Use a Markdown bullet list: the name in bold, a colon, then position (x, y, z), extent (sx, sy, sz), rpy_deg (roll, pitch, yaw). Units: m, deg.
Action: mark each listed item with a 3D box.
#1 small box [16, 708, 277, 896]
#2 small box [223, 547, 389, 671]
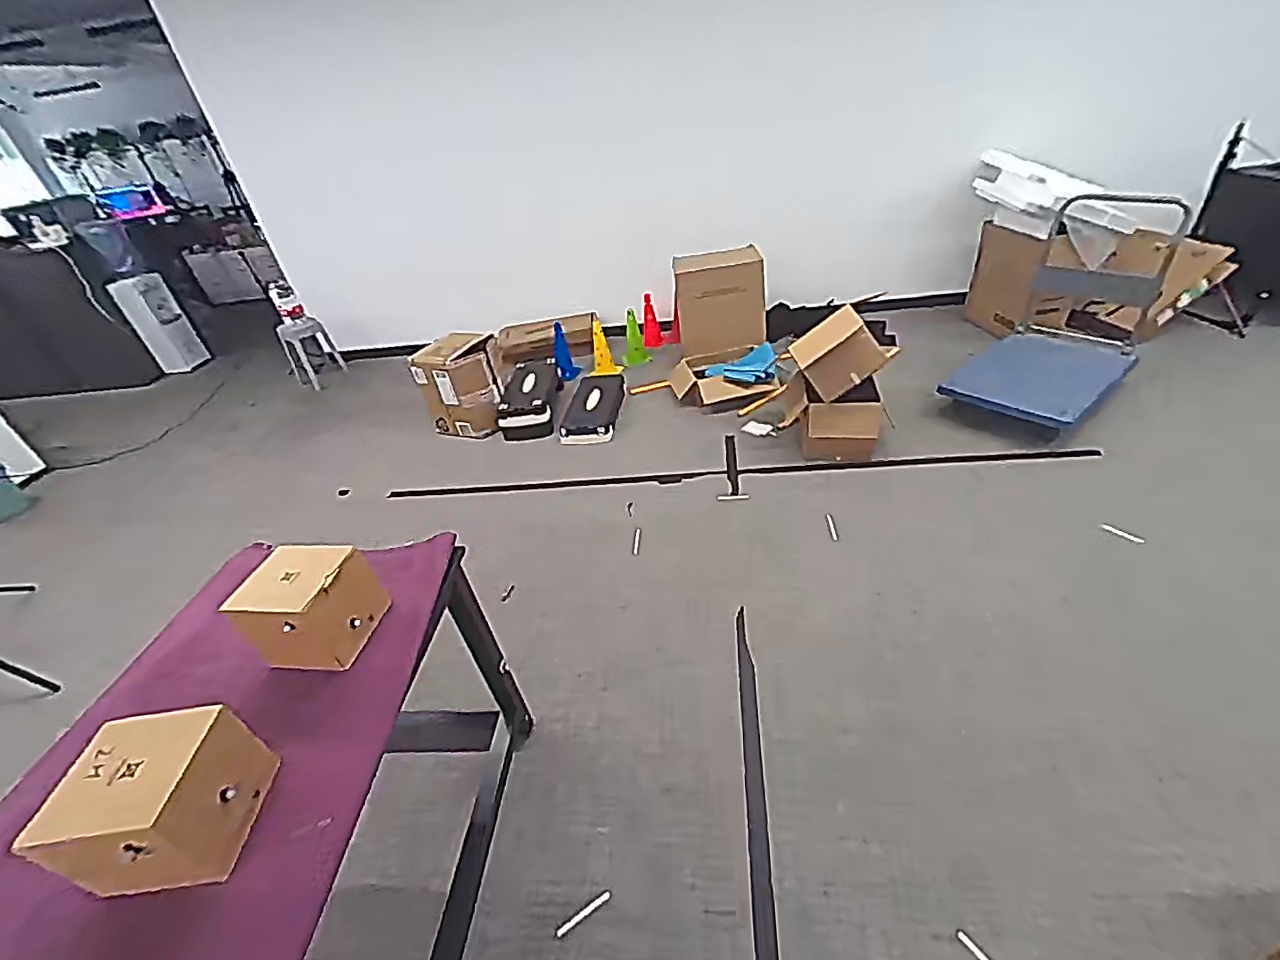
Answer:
- **small box**: position (-0.663, 0.451, 0.760), extent (0.179, 0.176, 0.168), rpy_deg (-9, 35, 1)
- **small box**: position (-0.624, 0.246, 1.035), extent (0.179, 0.176, 0.168), rpy_deg (-2, 36, 12)
